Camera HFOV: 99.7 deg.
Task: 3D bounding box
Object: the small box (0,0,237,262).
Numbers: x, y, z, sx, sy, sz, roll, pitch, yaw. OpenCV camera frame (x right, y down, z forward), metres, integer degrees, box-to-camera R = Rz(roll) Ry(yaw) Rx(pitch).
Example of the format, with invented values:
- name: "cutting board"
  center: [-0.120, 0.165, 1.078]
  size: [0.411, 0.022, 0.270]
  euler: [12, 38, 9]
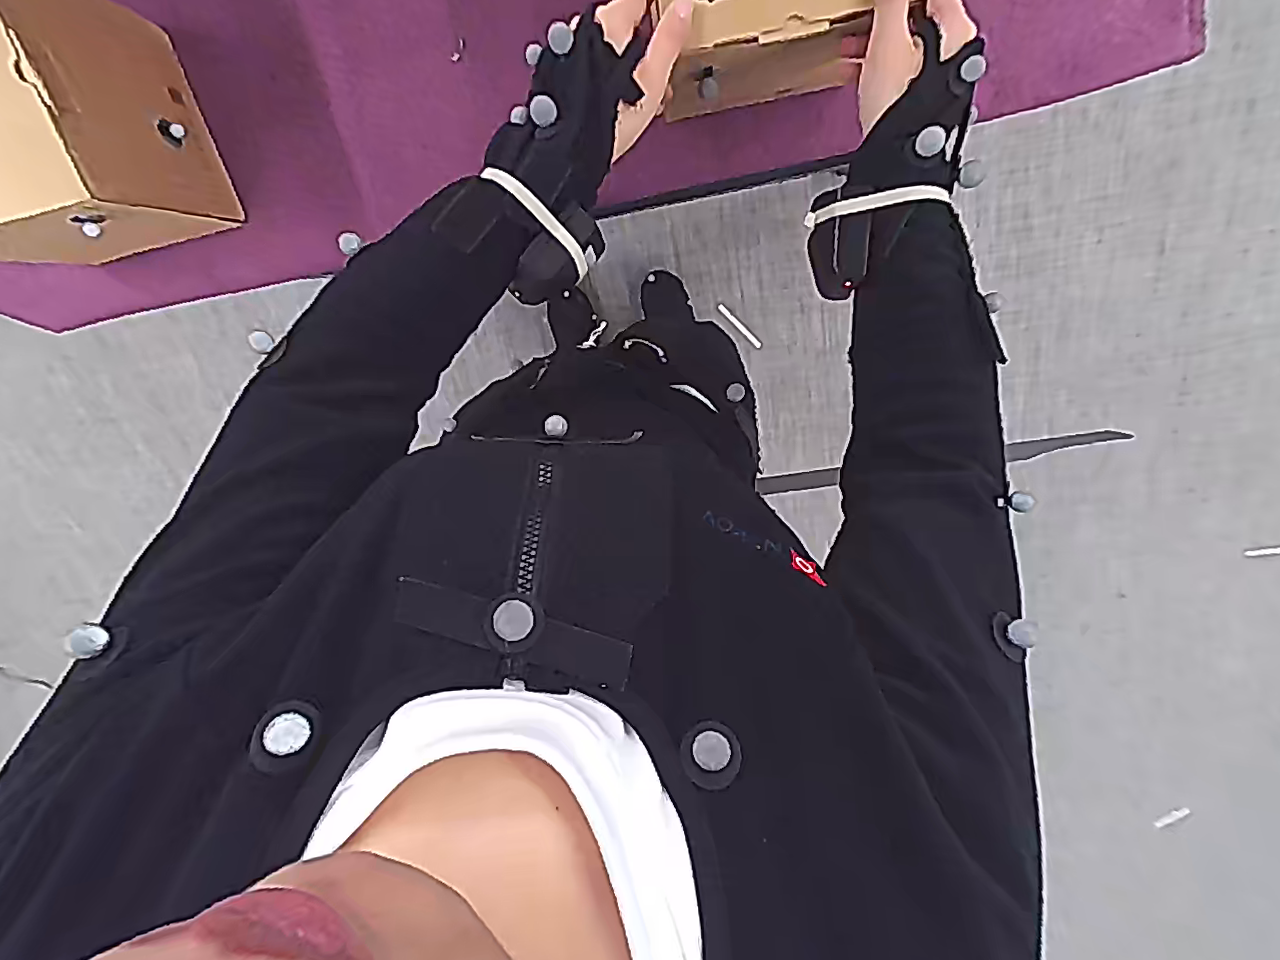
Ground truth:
- name: "small box"
  center: [-0.505, -0.290, 0.456]
  size: [0.179, 0.176, 0.168]
  euler: [-13, 110, 3]
